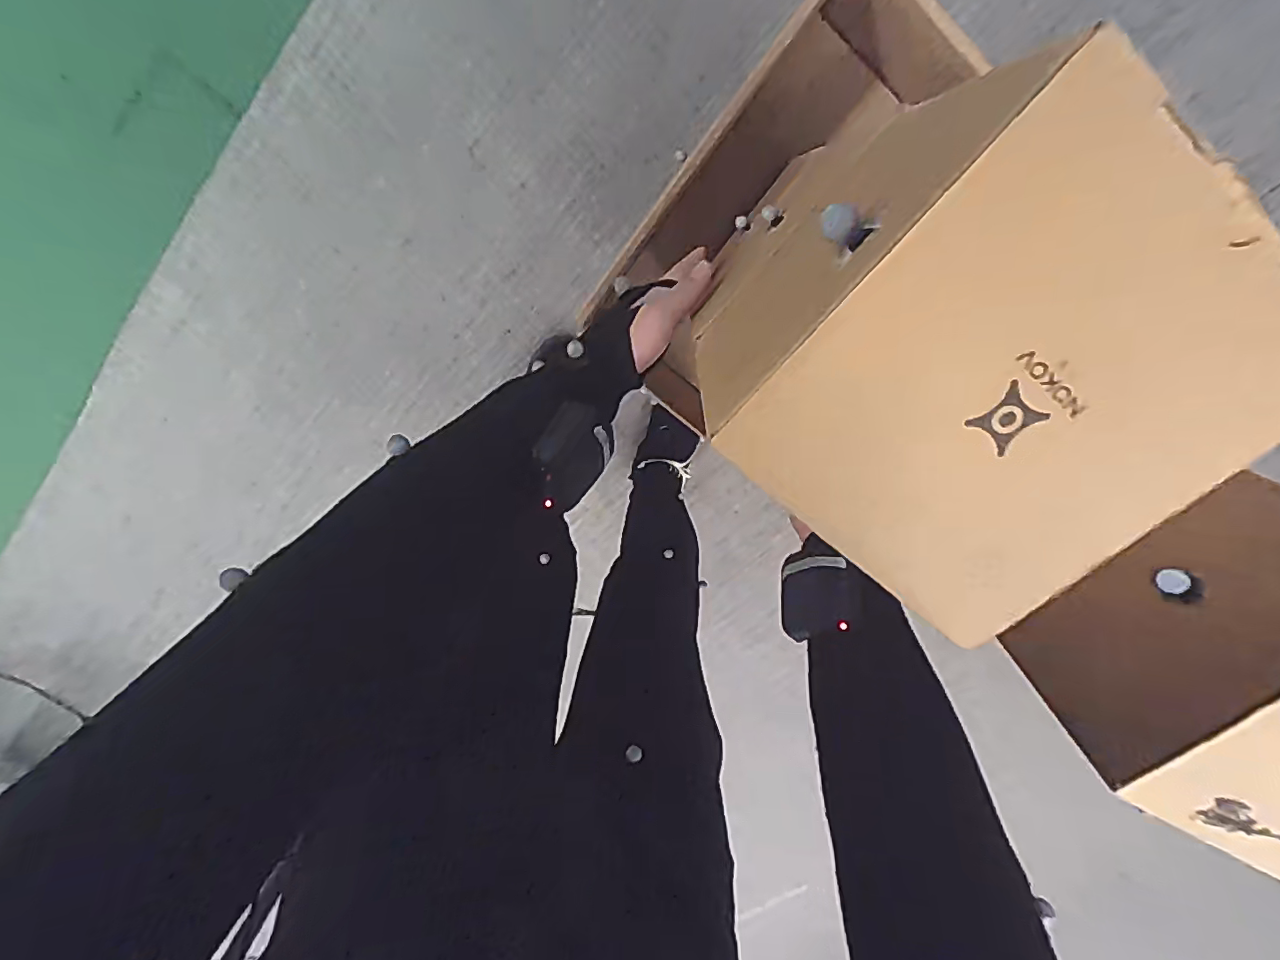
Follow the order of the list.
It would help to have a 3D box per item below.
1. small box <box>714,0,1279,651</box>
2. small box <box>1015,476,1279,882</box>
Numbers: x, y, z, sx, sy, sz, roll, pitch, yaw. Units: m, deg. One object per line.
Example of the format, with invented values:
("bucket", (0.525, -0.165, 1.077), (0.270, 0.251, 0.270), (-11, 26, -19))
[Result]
("small box", (0.153, -0.061, 0.269), (0.168, 0.176, 0.179), (38, 111, -13))
("small box", (0.373, 0.106, 0.330), (0.168, 0.176, 0.179), (29, 114, -10))
